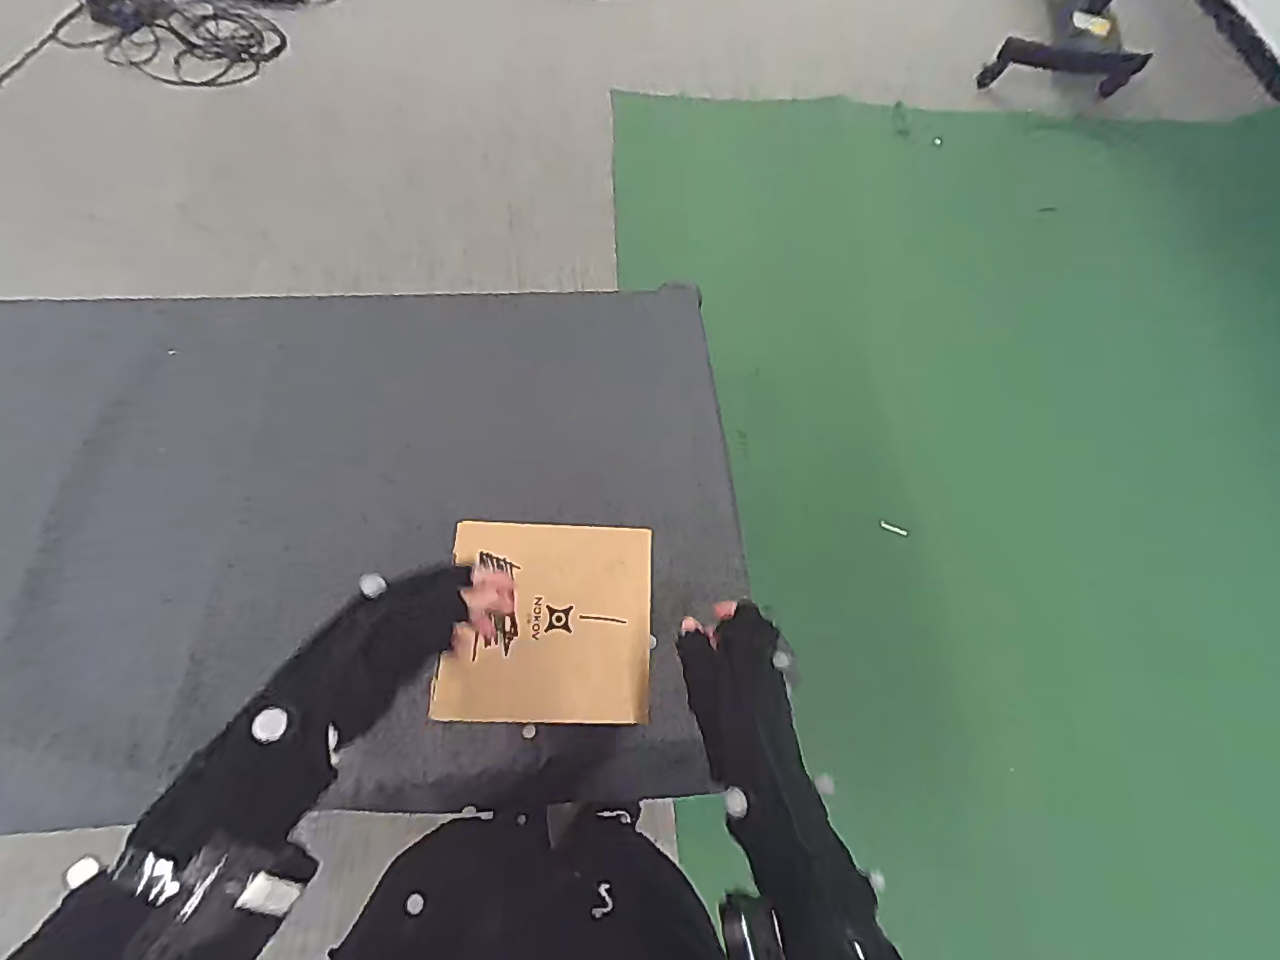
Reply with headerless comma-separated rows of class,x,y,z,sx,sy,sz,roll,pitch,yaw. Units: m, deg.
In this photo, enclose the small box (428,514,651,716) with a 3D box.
small box,-0.085,0.140,0.532,0.179,0.176,0.168,3,68,-5
